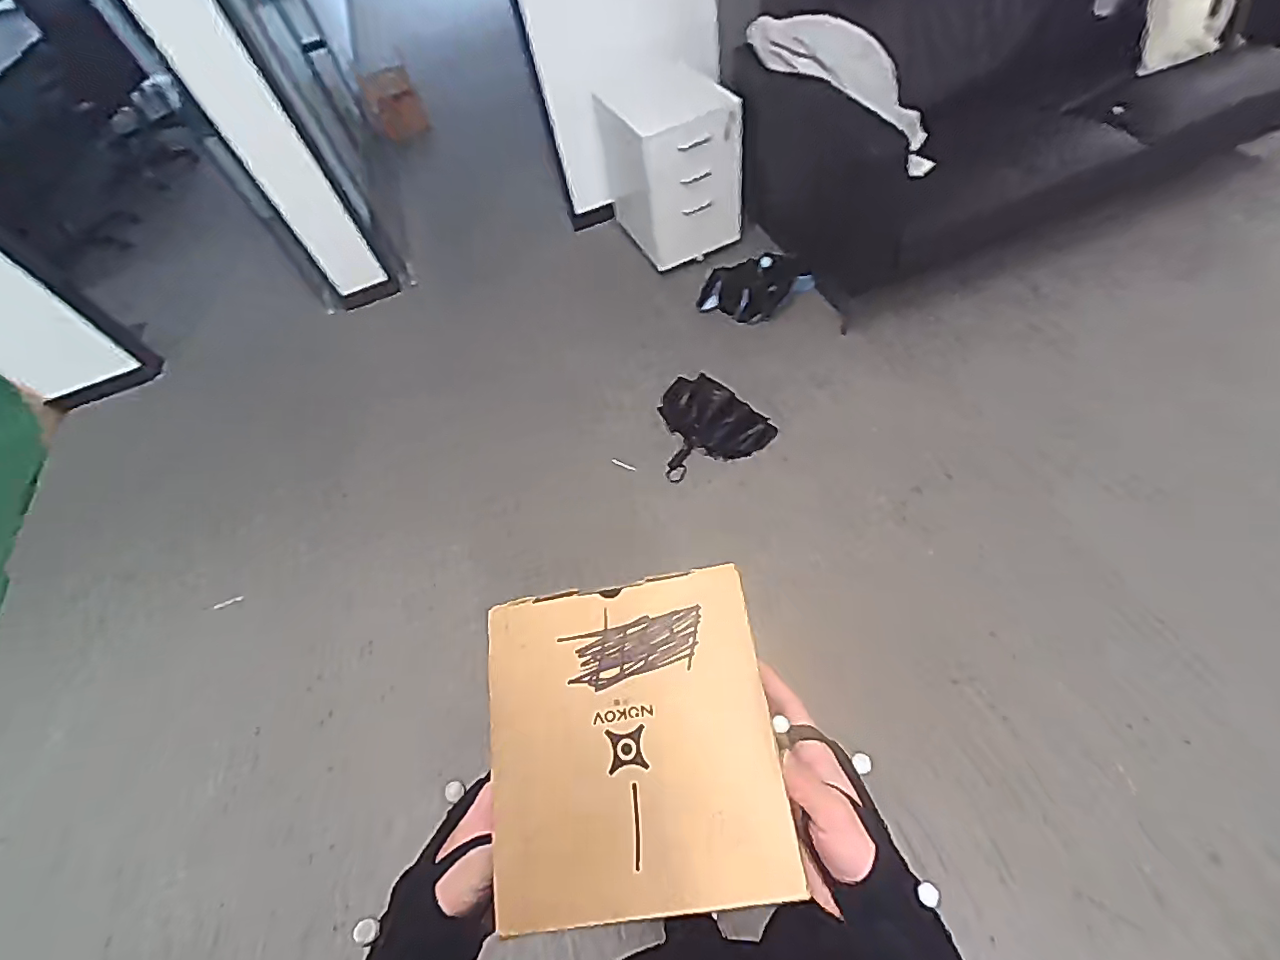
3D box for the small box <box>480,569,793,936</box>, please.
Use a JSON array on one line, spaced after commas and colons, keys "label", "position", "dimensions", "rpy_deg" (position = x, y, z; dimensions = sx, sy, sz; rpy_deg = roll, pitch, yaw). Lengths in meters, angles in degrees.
[{"label": "small box", "position": [-0.002, 0.180, 0.383], "dimensions": [0.168, 0.176, 0.179], "rpy_deg": [-11, 64, 5]}]
